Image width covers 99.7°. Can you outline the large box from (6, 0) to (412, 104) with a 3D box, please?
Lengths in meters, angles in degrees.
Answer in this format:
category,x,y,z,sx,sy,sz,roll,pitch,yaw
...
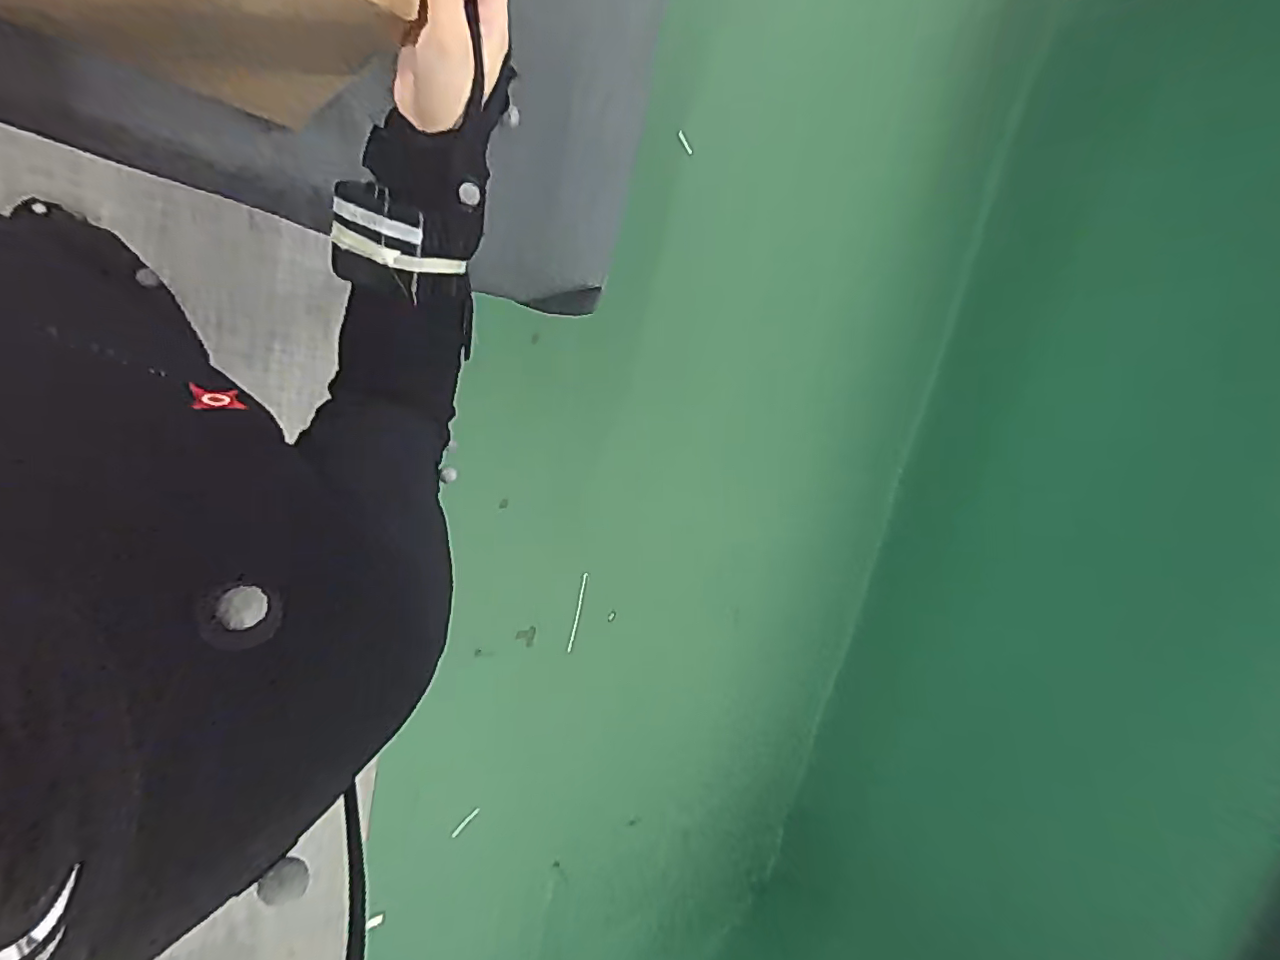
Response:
category,x,y,z,sx,sy,sz,roll,pitch,yaw
large box,-0.348,-0.451,0.243,0.408,0.320,0.320,-2,108,-45
